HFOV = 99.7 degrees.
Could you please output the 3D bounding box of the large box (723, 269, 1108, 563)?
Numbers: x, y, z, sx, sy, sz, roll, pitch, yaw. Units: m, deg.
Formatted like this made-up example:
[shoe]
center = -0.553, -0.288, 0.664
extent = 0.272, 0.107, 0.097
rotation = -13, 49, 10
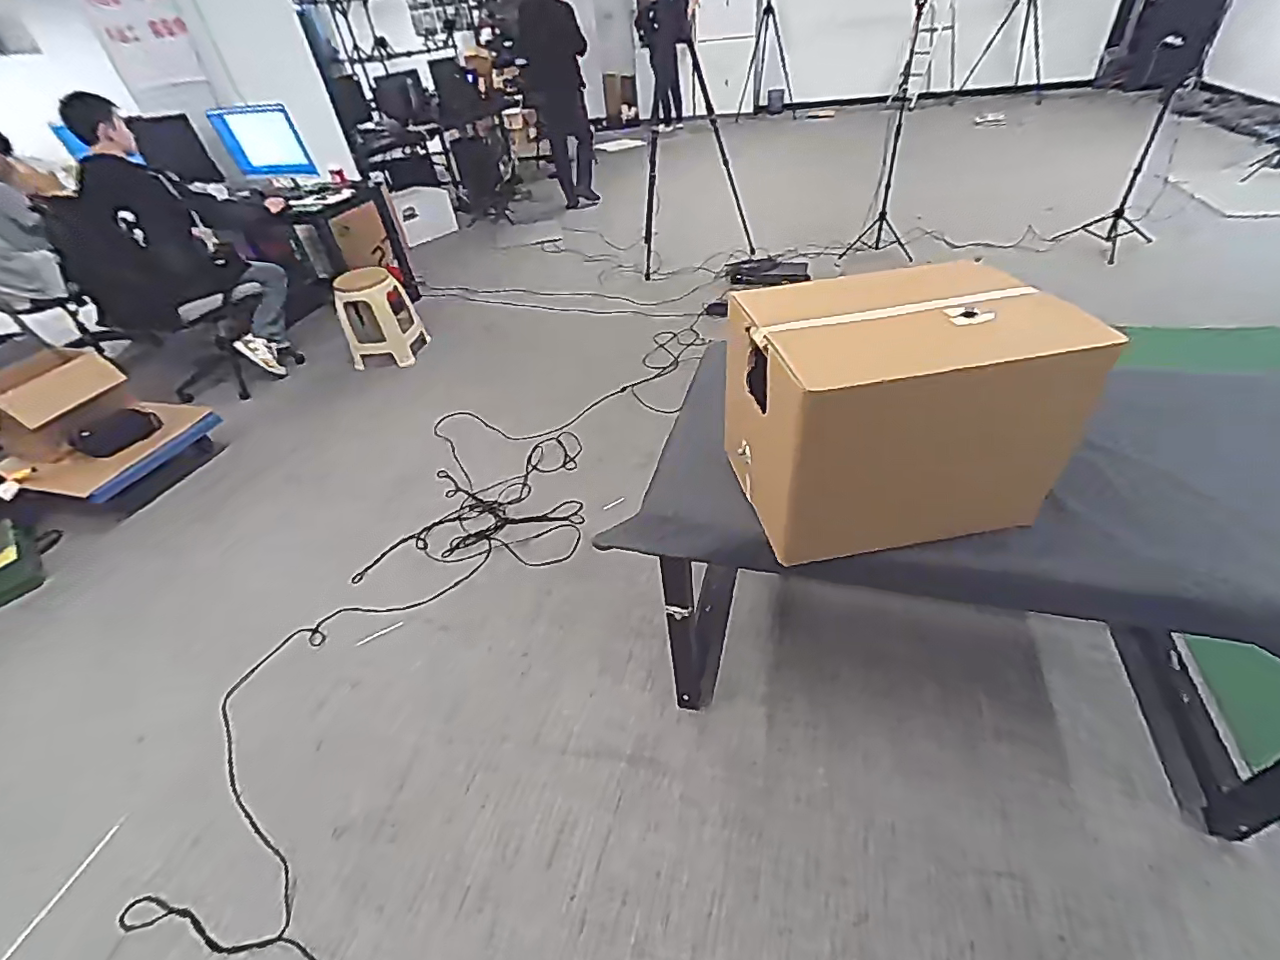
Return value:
[large box]
center = 0.369, -0.109, 0.854
extent = 0.408, 0.320, 0.320
rotation = -9, 41, -5
